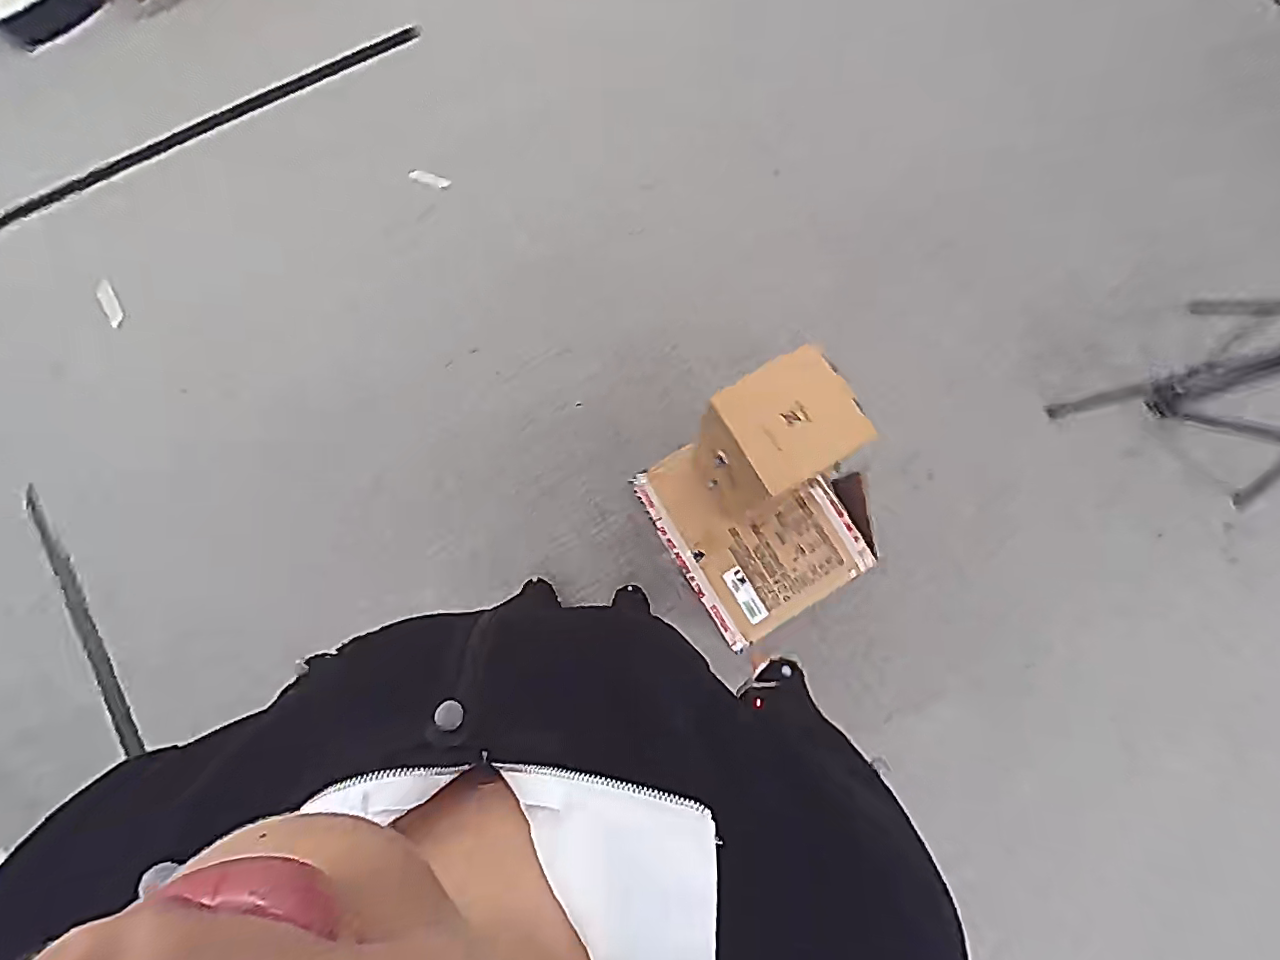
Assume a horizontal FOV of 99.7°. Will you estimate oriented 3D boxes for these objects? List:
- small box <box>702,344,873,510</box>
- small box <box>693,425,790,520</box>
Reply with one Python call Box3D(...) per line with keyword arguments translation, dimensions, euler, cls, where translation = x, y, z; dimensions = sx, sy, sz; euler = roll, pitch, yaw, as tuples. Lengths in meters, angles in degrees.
Box3D(translation=(0.211, -0.071, 0.829), dimensions=(0.179, 0.176, 0.168), euler=(-29, 79, -4), cls="small box")
Box3D(translation=(0.212, -0.042, 0.988), dimensions=(0.179, 0.176, 0.168), euler=(-29, 80, -4), cls="small box")
